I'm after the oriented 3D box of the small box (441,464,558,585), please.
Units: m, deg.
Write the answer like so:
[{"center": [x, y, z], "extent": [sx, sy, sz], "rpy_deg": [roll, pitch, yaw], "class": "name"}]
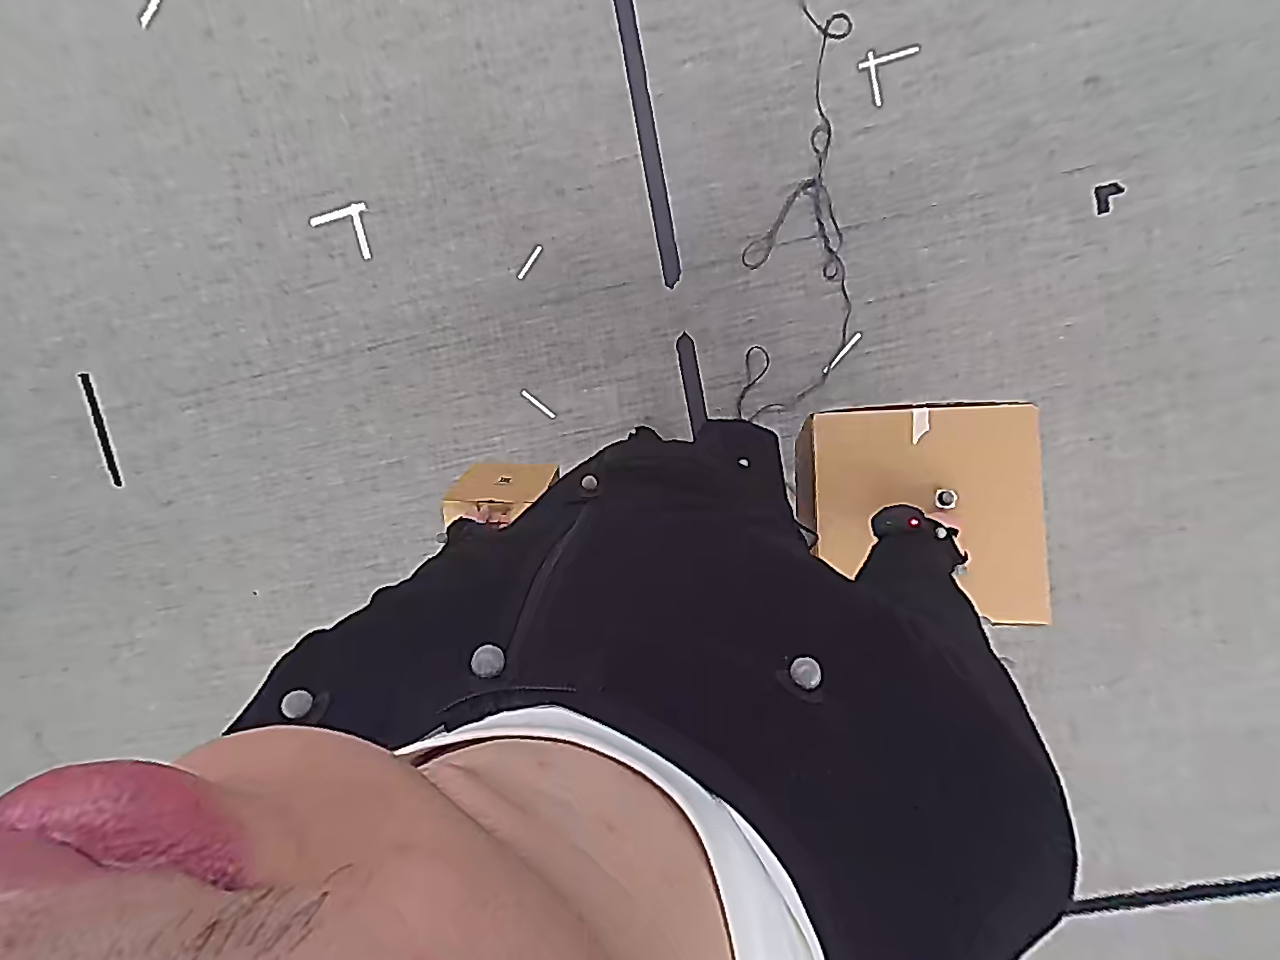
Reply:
[{"center": [-0.248, 0.080, 1.003], "extent": [0.168, 0.179, 0.176], "rpy_deg": [2, 113, 2], "class": "small box"}]
